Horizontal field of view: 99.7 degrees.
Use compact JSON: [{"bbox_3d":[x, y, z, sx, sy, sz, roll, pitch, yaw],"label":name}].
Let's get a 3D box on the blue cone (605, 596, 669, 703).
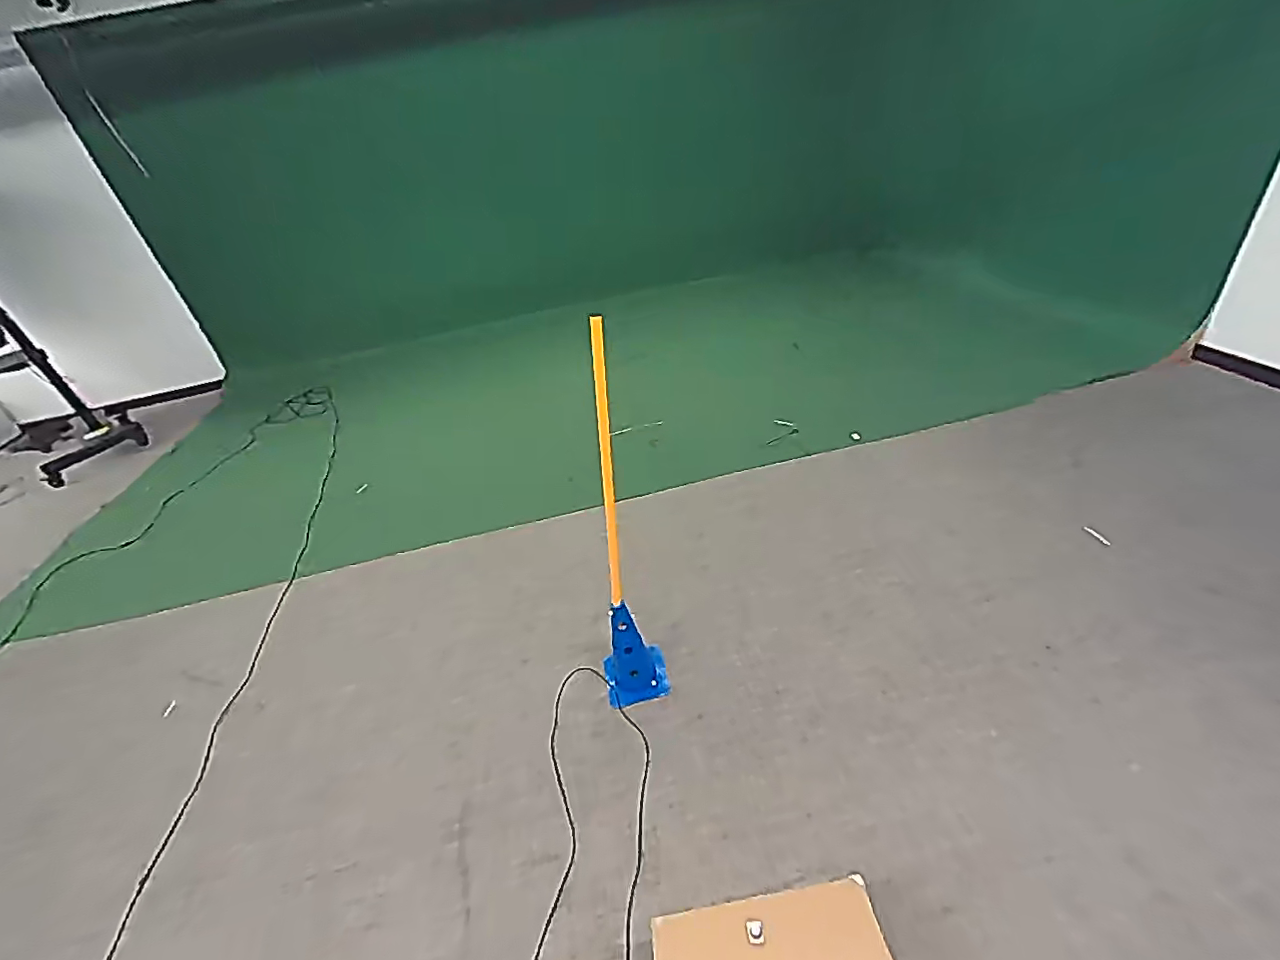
[{"bbox_3d":[-0.036,0.499,1.689,0.193,0.380,0.192,-14,35,-7],"label":"blue cone"}]
